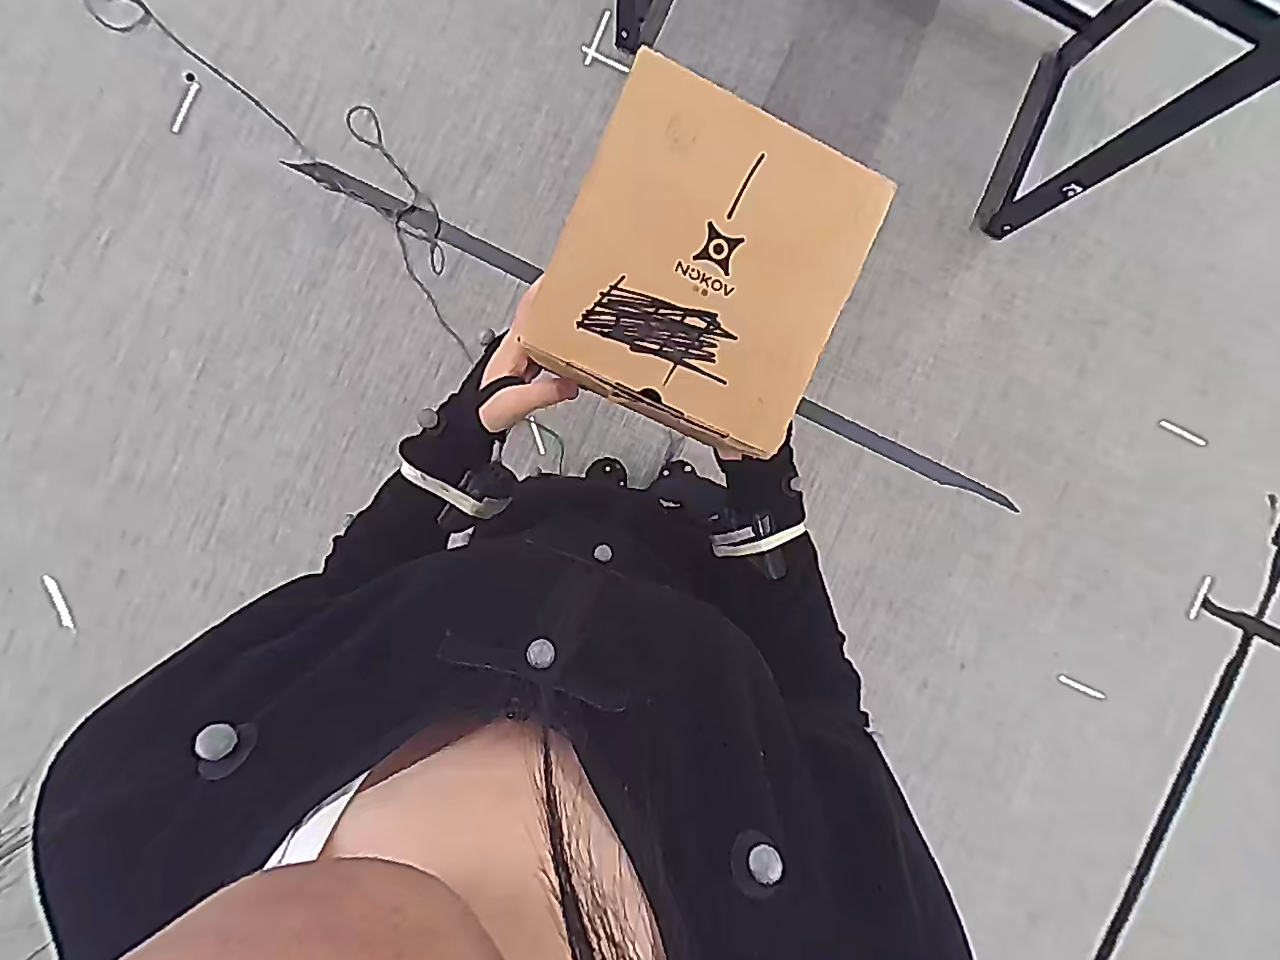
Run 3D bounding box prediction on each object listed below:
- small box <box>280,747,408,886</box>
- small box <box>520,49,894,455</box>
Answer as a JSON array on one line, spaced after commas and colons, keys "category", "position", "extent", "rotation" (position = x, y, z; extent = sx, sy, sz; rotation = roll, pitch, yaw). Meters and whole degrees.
[{"category": "small box", "position": [-0.656, 0.751, 1.226], "extent": [0.168, 0.176, 0.179], "rotation": [27, 89, -4]}, {"category": "small box", "position": [0.033, -0.133, 0.387], "extent": [0.168, 0.176, 0.179], "rotation": [24, 93, -7]}]
